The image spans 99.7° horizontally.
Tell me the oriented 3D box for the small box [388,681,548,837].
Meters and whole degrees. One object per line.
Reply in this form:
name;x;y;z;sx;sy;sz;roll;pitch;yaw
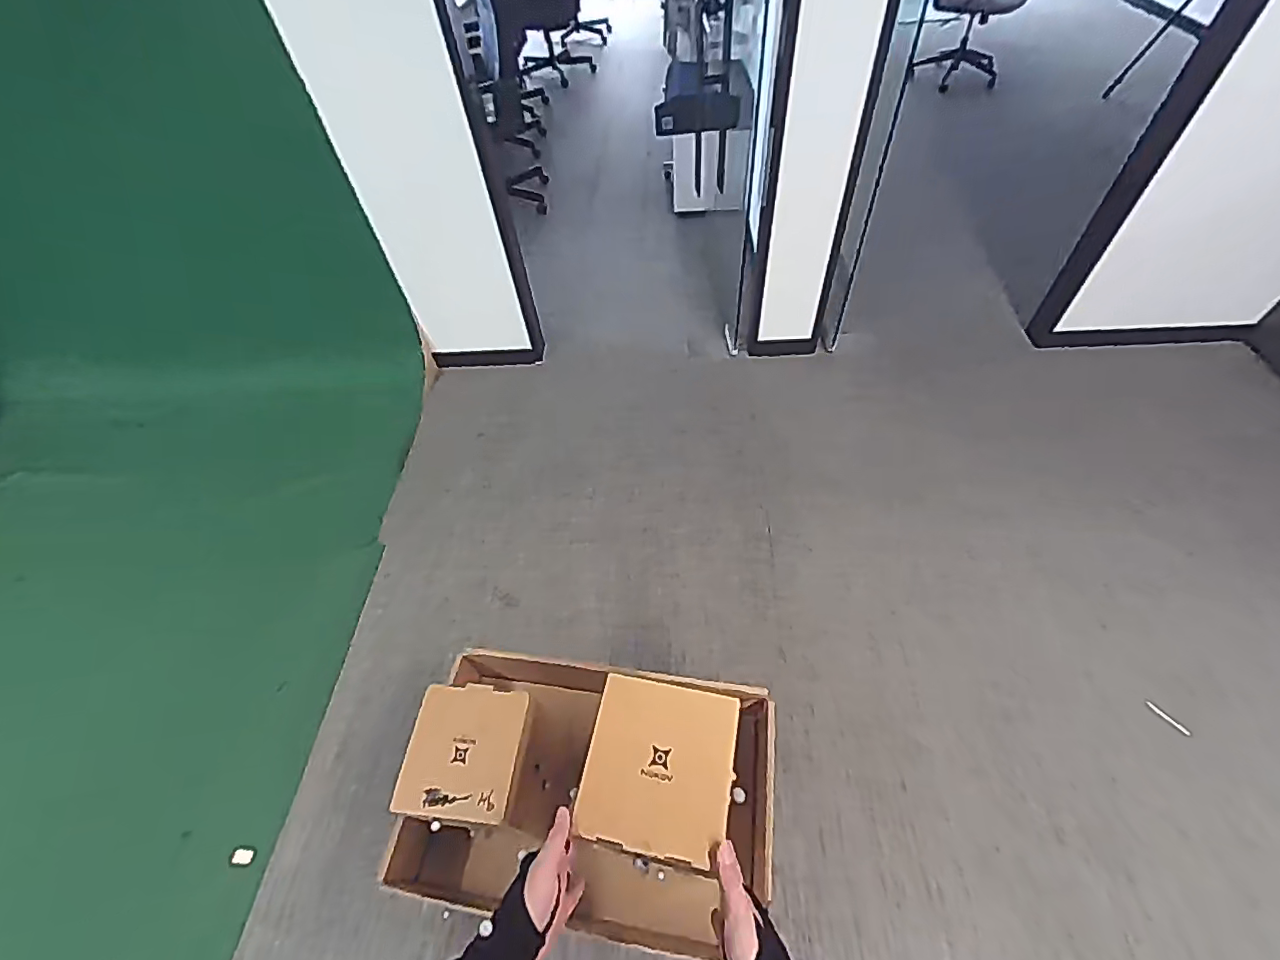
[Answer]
small box;-0.248;0.432;0.836;0.168;0.176;0.179;3;53;8

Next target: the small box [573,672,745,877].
small box;0.030;0.364;0.666;0.168;0.176;0.179;8;55;11
